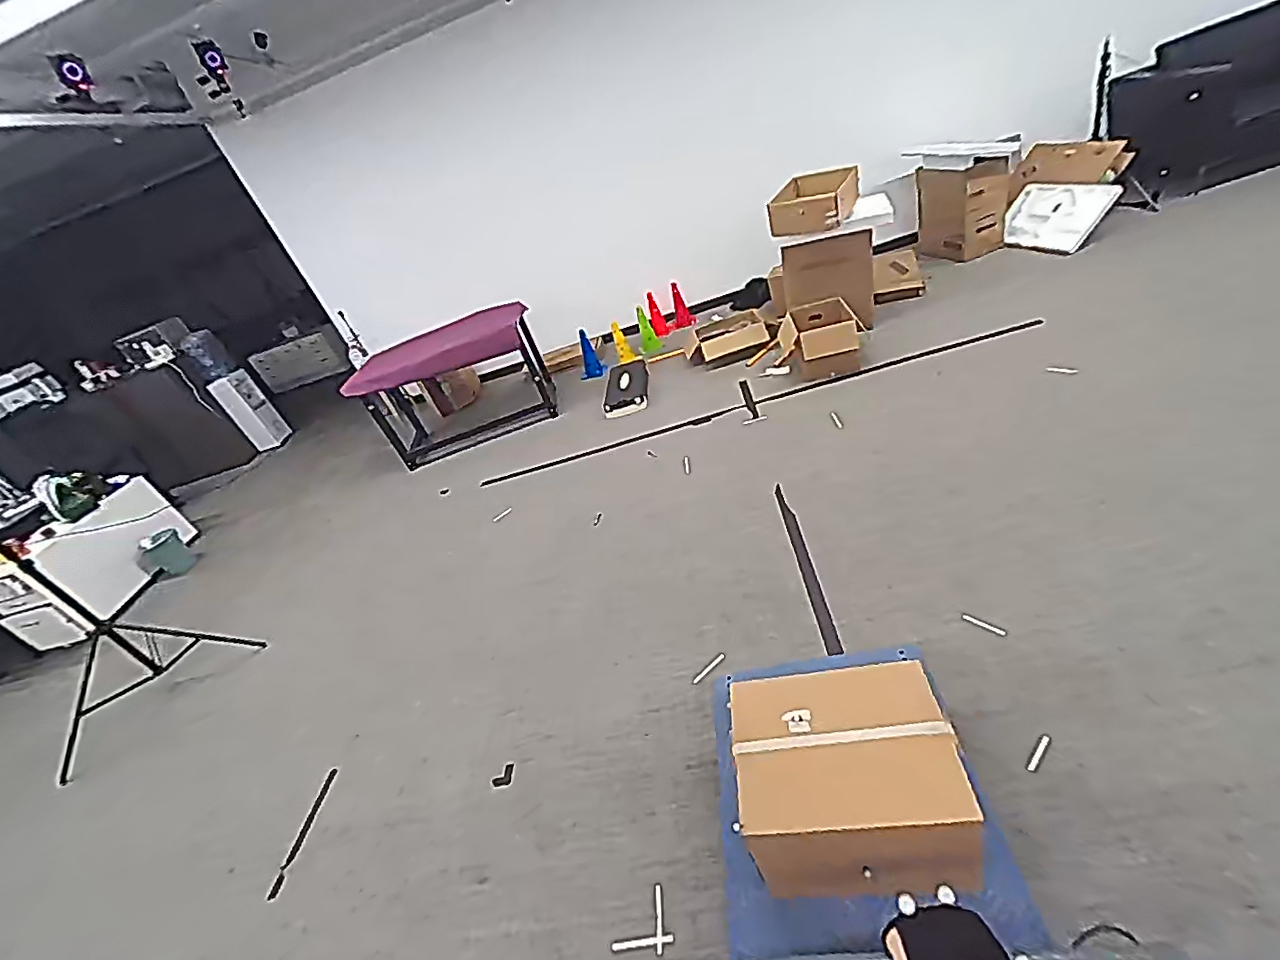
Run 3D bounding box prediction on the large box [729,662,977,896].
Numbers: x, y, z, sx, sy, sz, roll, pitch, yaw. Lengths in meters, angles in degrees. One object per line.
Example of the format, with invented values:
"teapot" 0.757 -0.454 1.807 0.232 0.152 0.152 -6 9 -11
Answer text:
"large box" 0.431 0.636 1.145 0.408 0.320 0.320 -14 32 14
